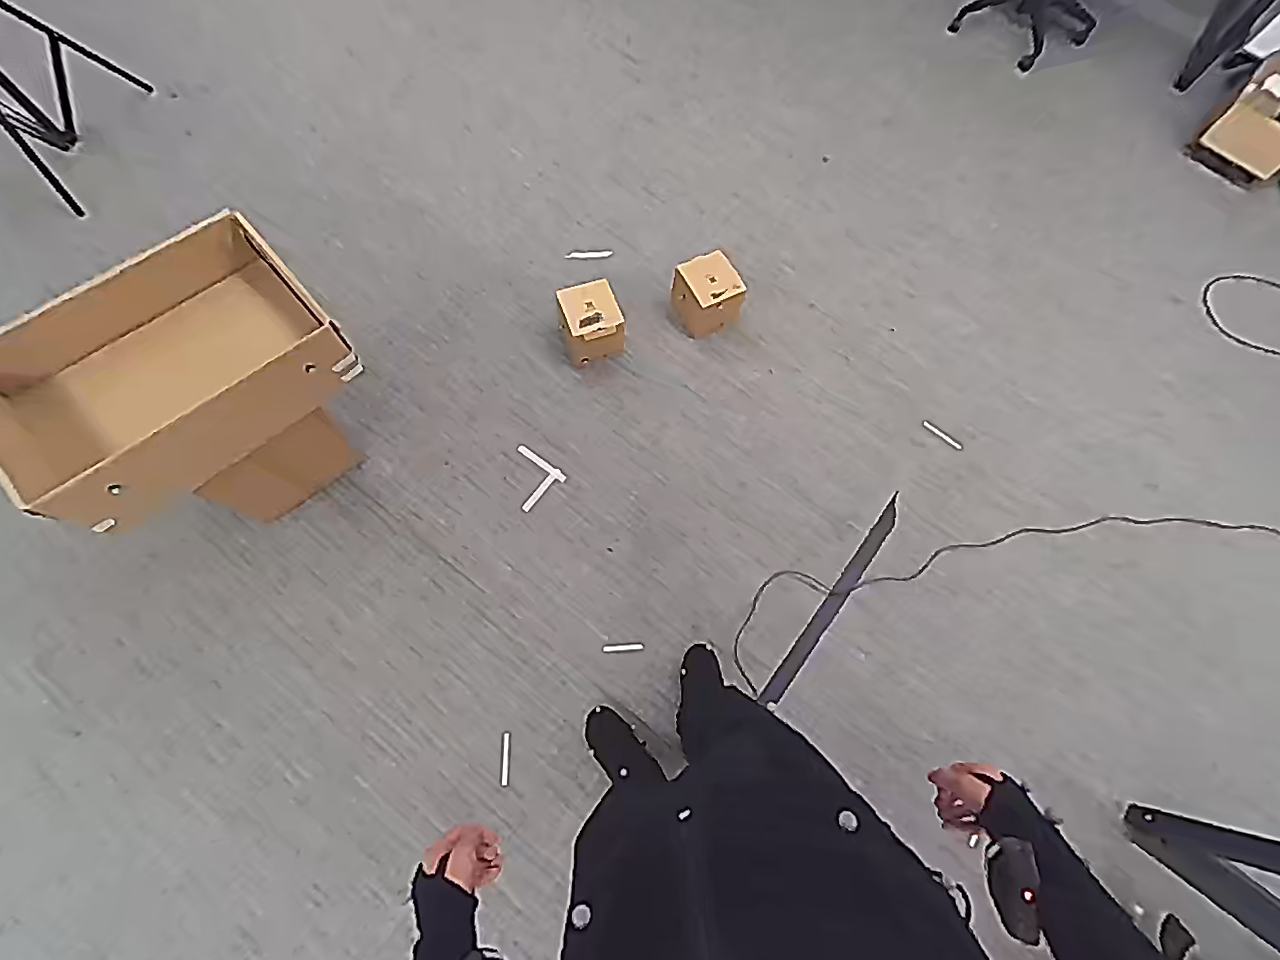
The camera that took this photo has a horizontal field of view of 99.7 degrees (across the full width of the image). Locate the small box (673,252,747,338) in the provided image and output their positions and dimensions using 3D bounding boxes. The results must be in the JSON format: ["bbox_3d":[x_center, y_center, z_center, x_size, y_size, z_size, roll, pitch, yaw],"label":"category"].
[{"bbox_3d":[0.221,-0.602,1.770,0.168,0.176,0.179,-25,73,-12],"label":"small box"}]

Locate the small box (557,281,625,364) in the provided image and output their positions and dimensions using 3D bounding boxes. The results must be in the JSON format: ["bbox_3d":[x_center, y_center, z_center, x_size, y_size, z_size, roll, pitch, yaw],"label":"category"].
[{"bbox_3d":[-0.153,-0.487,1.704,0.168,0.176,0.179,-19,73,-10],"label":"small box"}]
